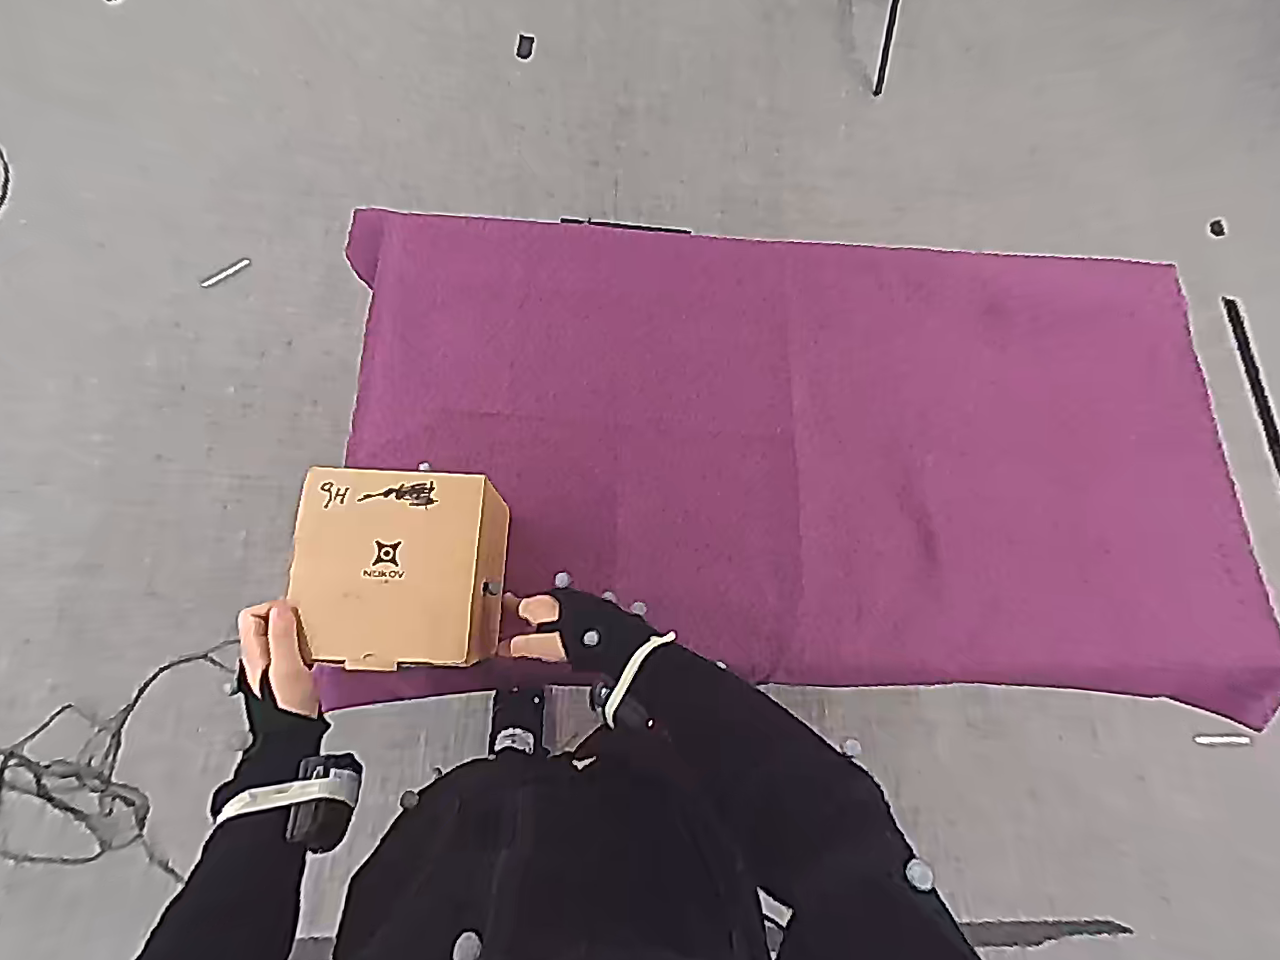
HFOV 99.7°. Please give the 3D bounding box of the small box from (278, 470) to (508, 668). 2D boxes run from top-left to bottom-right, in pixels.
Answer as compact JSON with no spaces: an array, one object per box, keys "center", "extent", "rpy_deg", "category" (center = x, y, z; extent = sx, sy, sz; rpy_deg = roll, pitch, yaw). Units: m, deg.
[{"center":[-0.239,0.097,0.572],"extent":[0.168,0.176,0.179],"rpy_deg":[3,76,-5],"category":"small box"}]
